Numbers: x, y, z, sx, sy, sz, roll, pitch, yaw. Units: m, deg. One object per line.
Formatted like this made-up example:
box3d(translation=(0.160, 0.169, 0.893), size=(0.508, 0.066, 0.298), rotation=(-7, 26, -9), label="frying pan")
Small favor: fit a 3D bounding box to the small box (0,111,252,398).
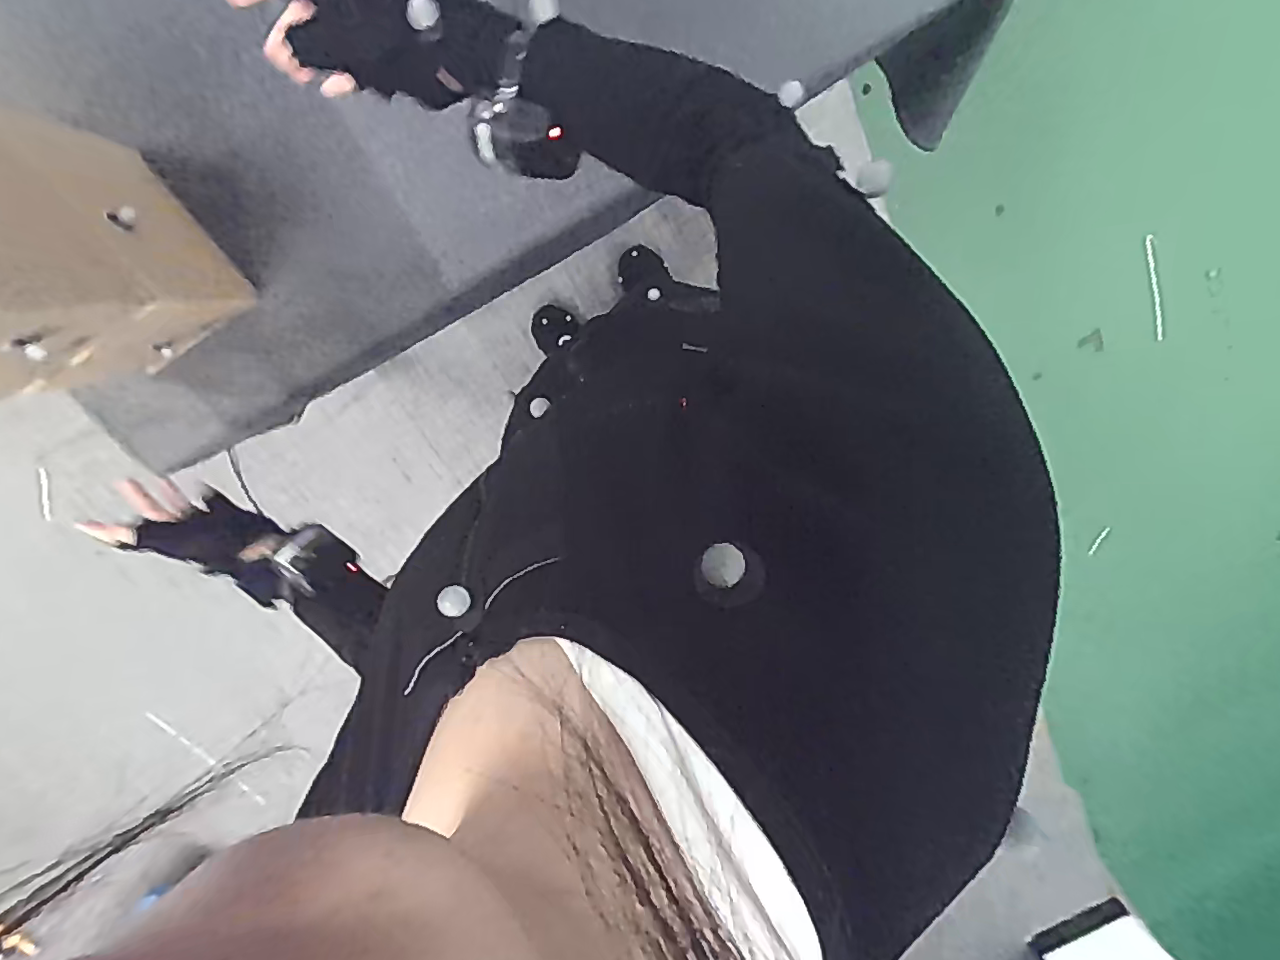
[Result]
box3d(translation=(-0.543, -0.206, 0.526), size=(0.168, 0.176, 0.179), rotation=(-32, 111, 4), label="small box")
